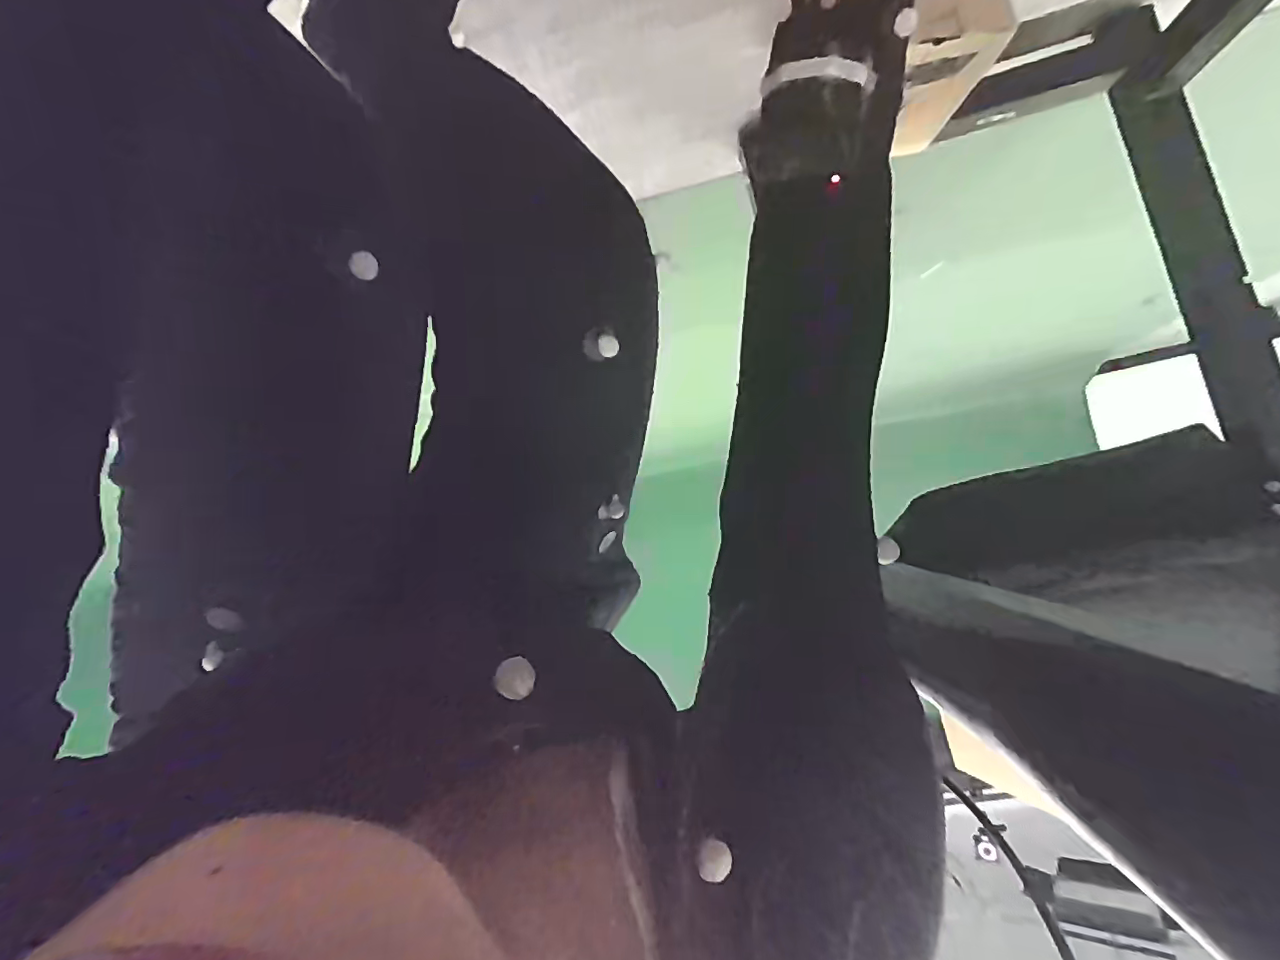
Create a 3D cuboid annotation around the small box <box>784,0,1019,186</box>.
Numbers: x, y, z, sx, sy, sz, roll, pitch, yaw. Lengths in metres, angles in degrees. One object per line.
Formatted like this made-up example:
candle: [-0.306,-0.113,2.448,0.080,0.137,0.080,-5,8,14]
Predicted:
small box: [0.280,-0.483,0.625,0.168,0.176,0.179,-10,174,-4]
